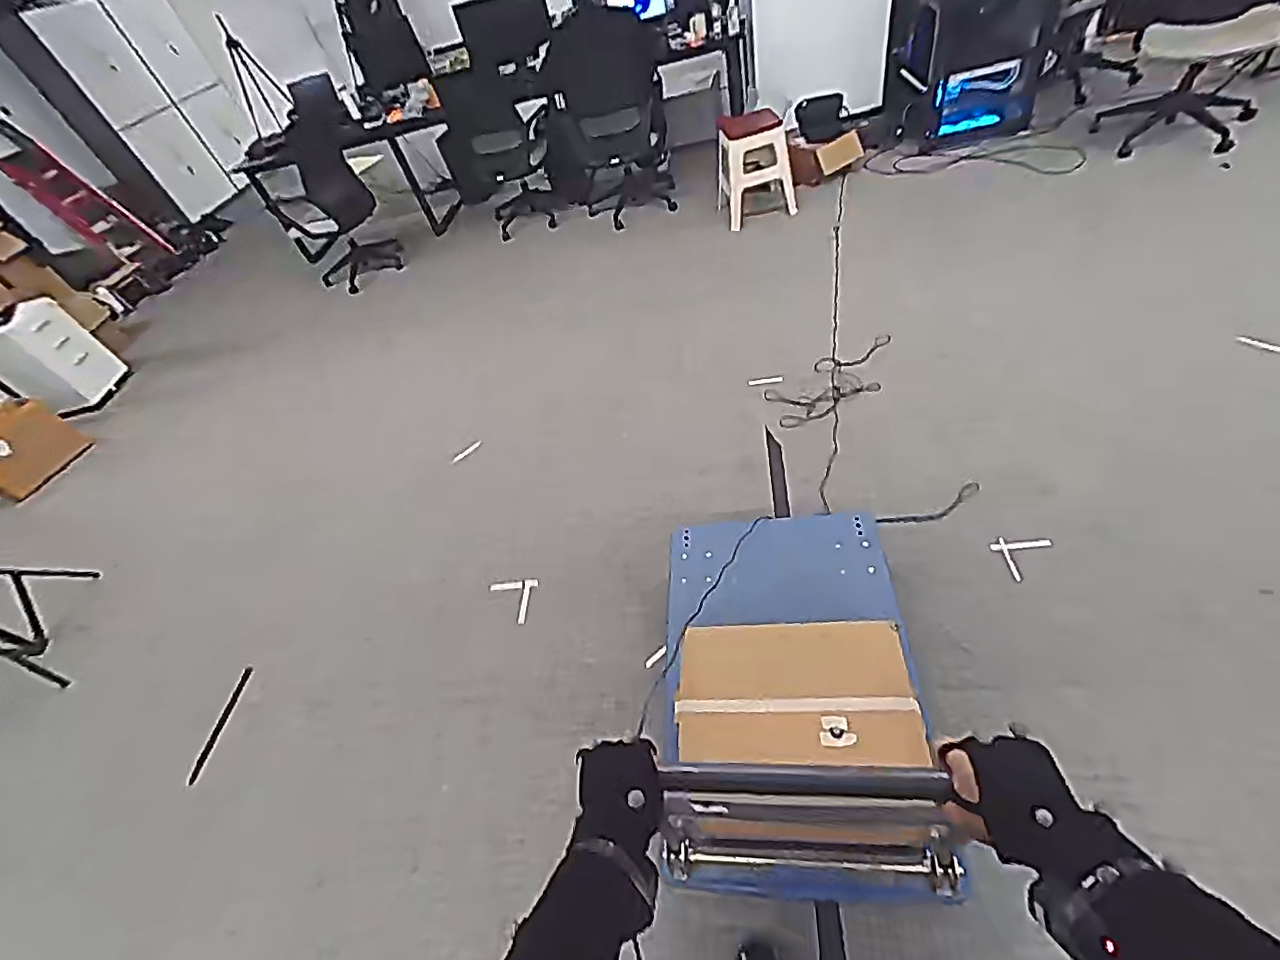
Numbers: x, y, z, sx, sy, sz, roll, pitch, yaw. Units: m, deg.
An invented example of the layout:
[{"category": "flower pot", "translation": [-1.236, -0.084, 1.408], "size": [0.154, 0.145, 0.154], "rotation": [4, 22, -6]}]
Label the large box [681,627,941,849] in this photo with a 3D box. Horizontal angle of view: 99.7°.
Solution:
[{"category": "large box", "translation": [0.299, 0.505, 1.051], "size": [0.408, 0.320, 0.320], "rotation": [-5, 49, 12]}]
